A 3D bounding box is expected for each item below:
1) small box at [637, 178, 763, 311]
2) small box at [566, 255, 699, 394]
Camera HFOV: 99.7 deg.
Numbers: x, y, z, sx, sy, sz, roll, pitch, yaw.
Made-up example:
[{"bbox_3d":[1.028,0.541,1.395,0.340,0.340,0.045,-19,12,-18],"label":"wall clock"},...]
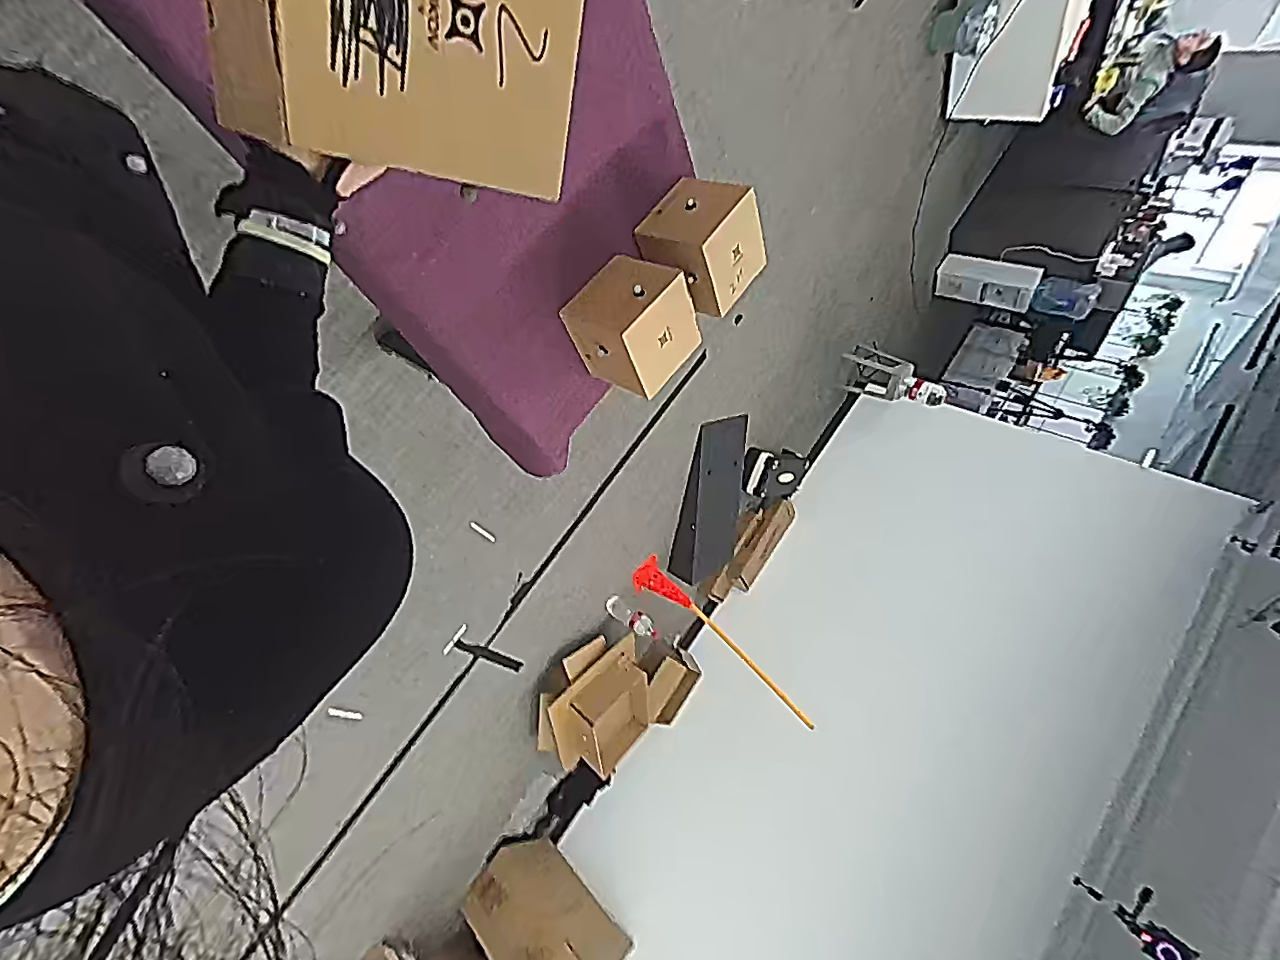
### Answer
[{"bbox_3d":[0.119,-0.470,1.069,0.168,0.176,0.179,-51,147,-13],"label":"small box"},{"bbox_3d":[-0.018,-0.298,1.025,0.179,0.176,0.168,-51,145,-17],"label":"small box"}]
